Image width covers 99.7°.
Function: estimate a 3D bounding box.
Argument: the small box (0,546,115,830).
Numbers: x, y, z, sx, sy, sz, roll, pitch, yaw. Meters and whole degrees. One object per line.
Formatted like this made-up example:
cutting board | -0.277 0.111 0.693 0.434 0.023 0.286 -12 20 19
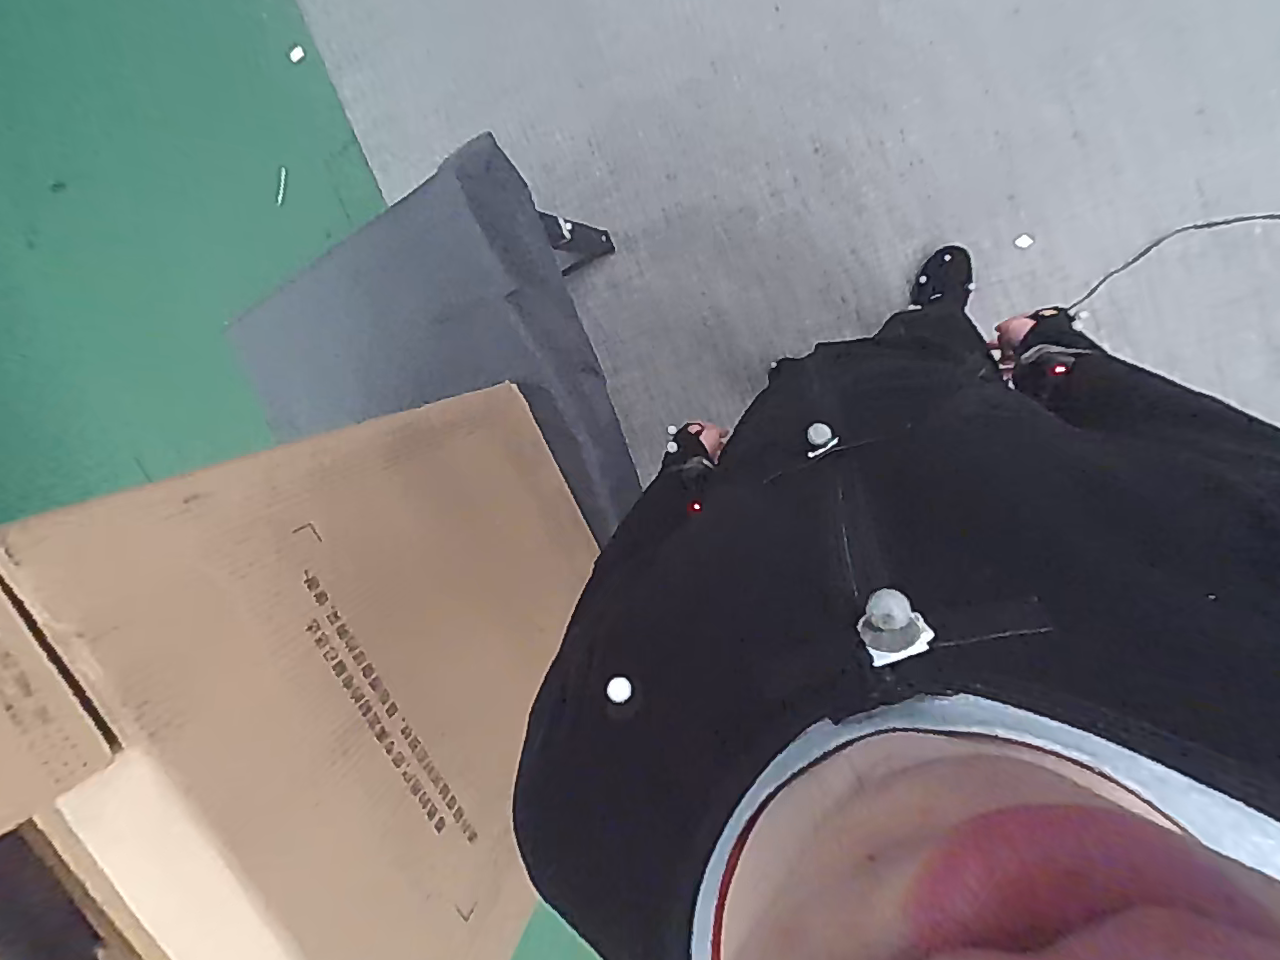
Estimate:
small box | -0.455 0.150 0.293 0.179 0.176 0.168 -22 99 22
